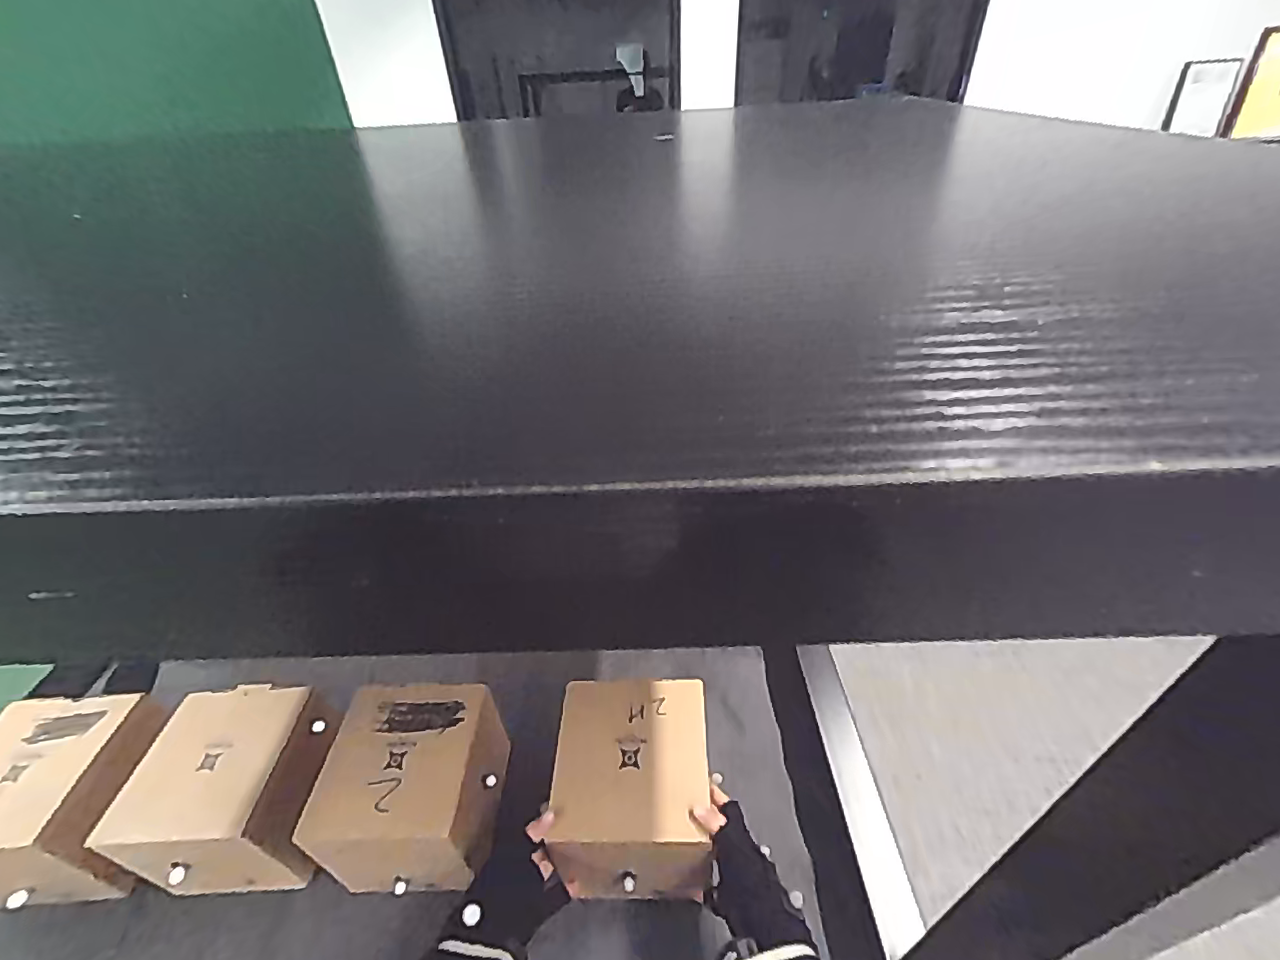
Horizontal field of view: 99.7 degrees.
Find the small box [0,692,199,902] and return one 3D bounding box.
[{"bbox_3d":[-0.710,0.393,0.678,0.168,0.176,0.179,-4,38,0],"label":"small box"}]

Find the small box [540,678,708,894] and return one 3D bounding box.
[{"bbox_3d":[-0.007,0.356,0.632,0.168,0.176,0.179,-2,37,4],"label":"small box"}]
